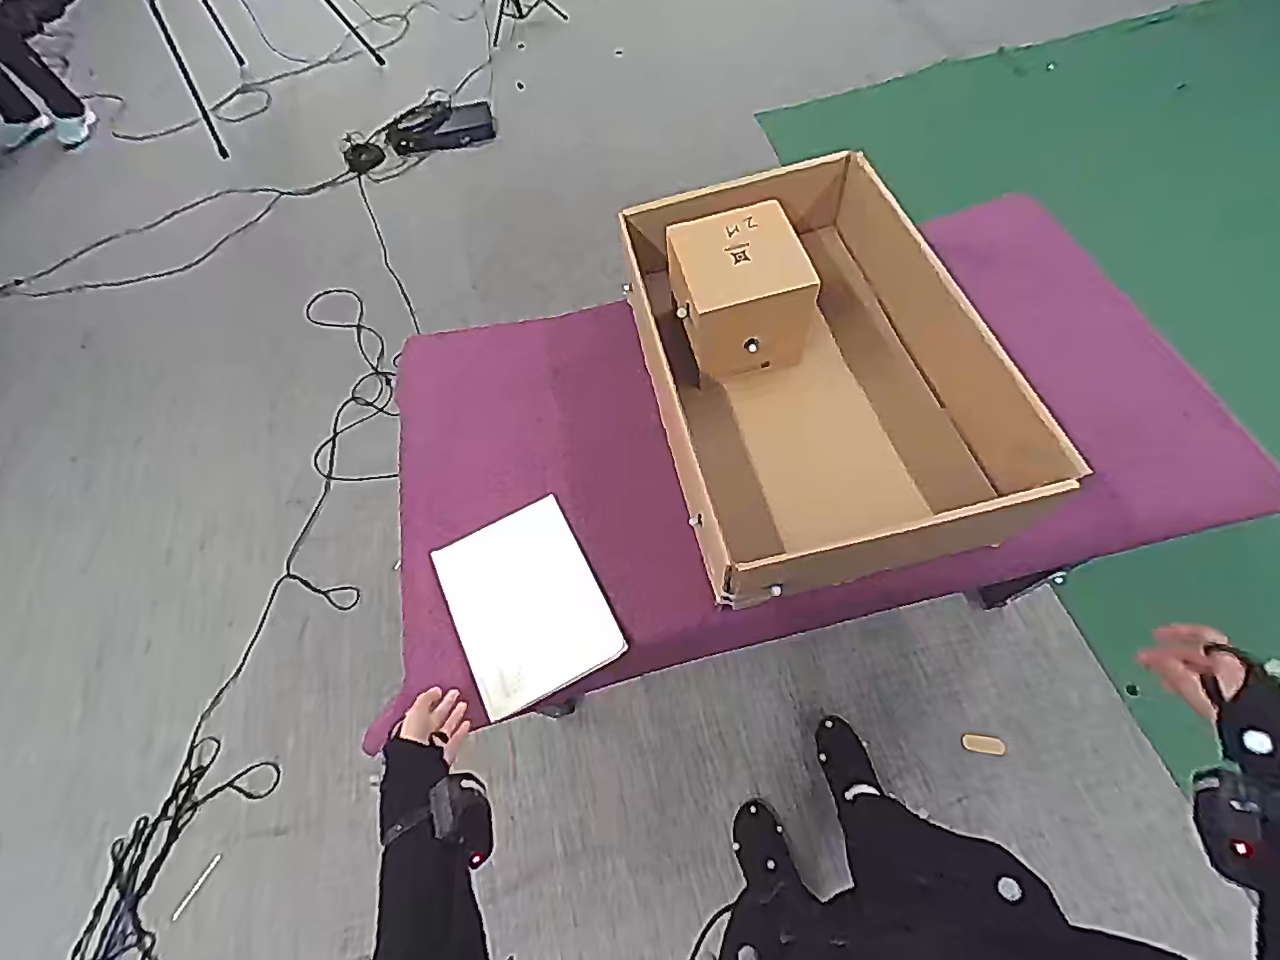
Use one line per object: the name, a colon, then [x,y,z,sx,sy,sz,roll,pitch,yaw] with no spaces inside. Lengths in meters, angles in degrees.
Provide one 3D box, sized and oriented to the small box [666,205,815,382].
small box: [0.143,-0.266,0.807,0.168,0.176,0.179,-14,63,0]
